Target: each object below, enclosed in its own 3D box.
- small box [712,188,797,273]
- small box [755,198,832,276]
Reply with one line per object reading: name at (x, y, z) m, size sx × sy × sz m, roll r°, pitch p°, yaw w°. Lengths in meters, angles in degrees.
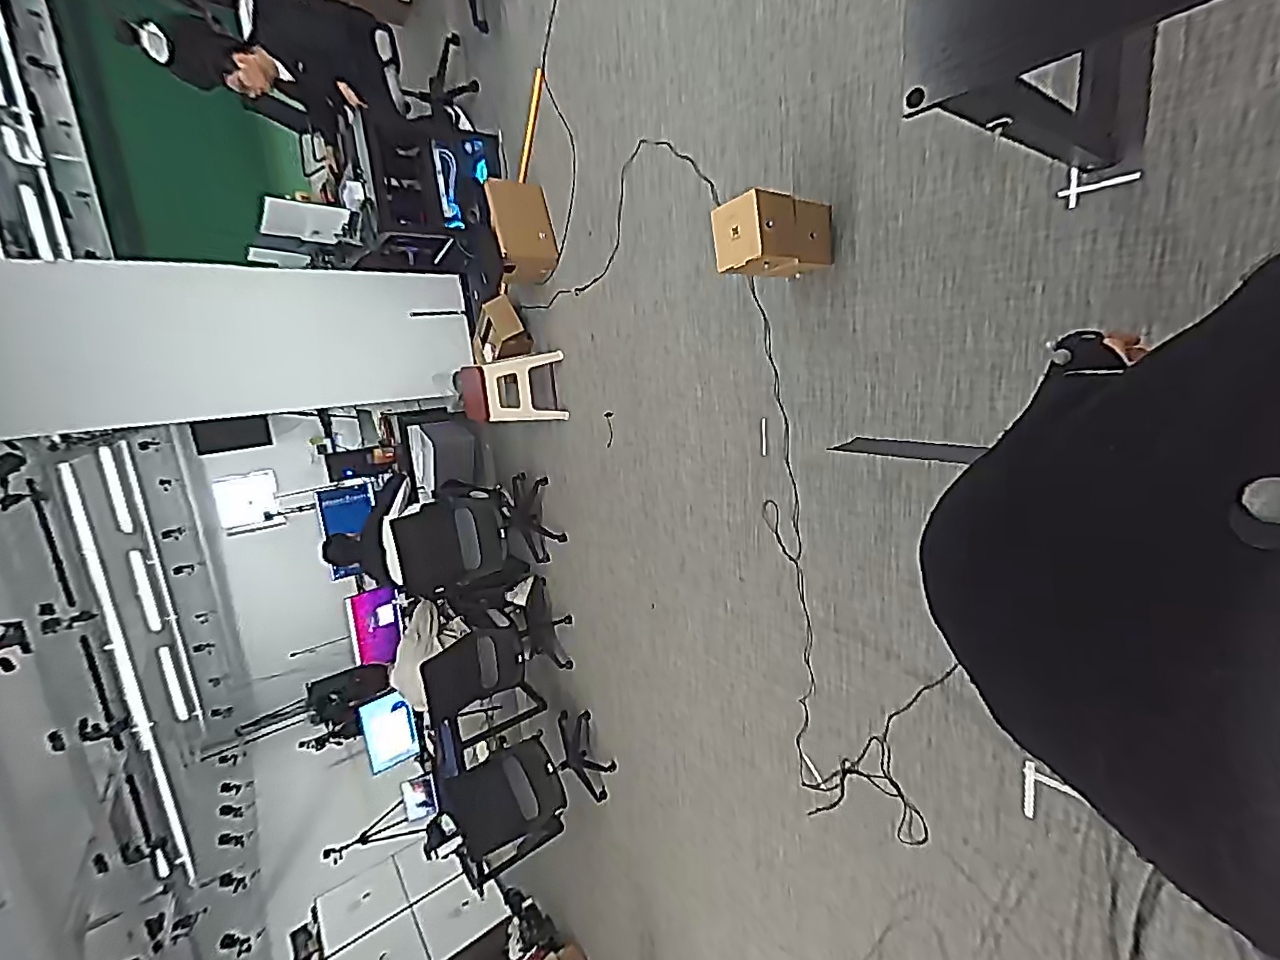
small box at (0.330, -0.699, 1.536) m, size 0.168 × 0.176 × 0.179 m, roll 1°, pitch 101°, yaw 53°
small box at (0.460, -0.724, 1.631) m, size 0.168 × 0.176 × 0.179 m, roll 6°, pitch 107°, yaw 53°
